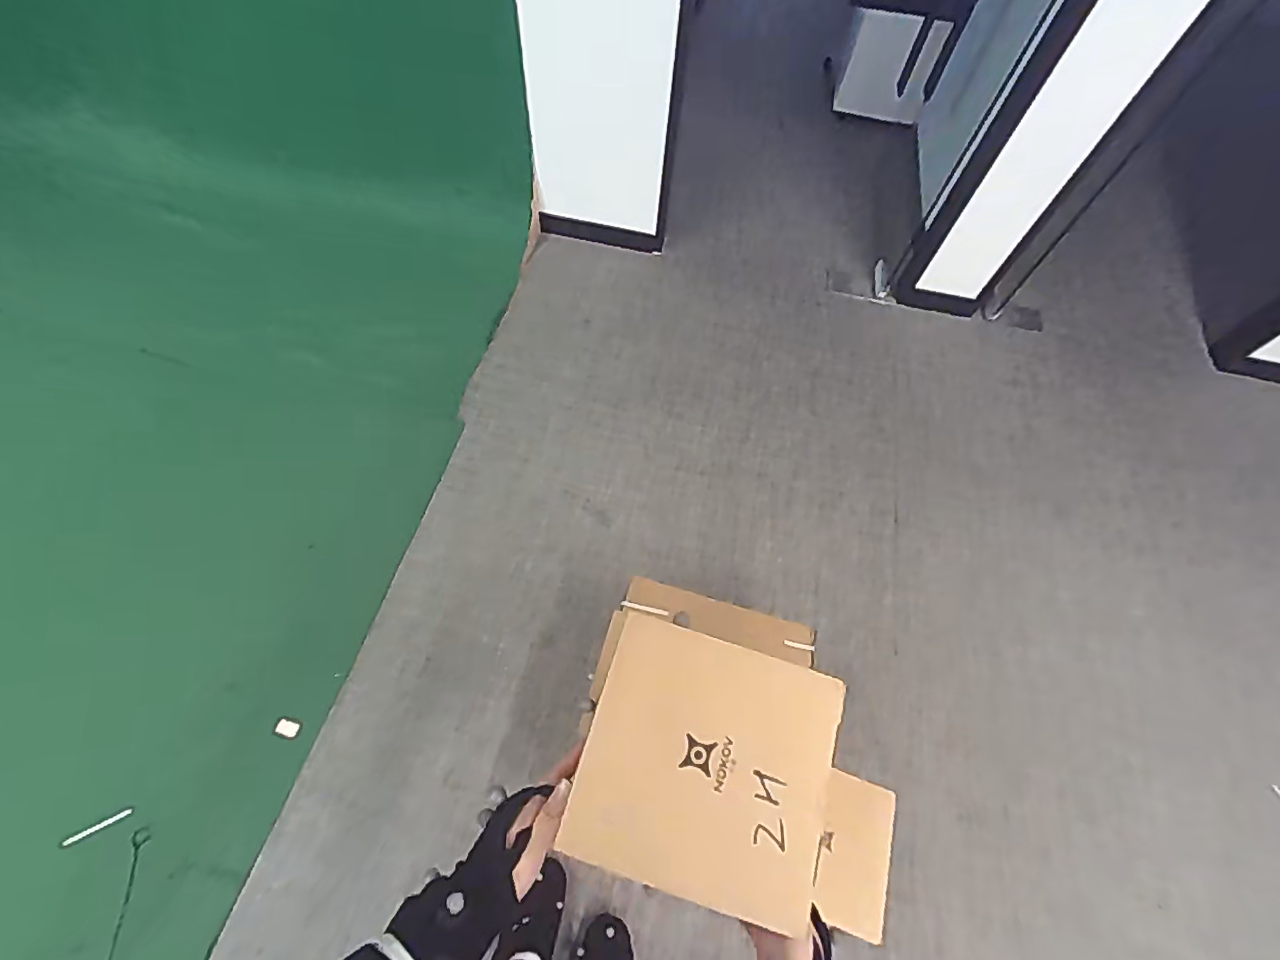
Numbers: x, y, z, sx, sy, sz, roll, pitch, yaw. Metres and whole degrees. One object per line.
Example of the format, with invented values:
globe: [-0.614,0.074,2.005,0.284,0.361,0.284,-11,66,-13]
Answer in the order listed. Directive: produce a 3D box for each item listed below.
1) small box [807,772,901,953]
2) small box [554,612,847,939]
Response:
small box: [0.220,0.484,0.731,0.179,0.176,0.168,20,60,6]
small box: [0.045,0.228,0.456,0.179,0.176,0.168,18,69,4]
